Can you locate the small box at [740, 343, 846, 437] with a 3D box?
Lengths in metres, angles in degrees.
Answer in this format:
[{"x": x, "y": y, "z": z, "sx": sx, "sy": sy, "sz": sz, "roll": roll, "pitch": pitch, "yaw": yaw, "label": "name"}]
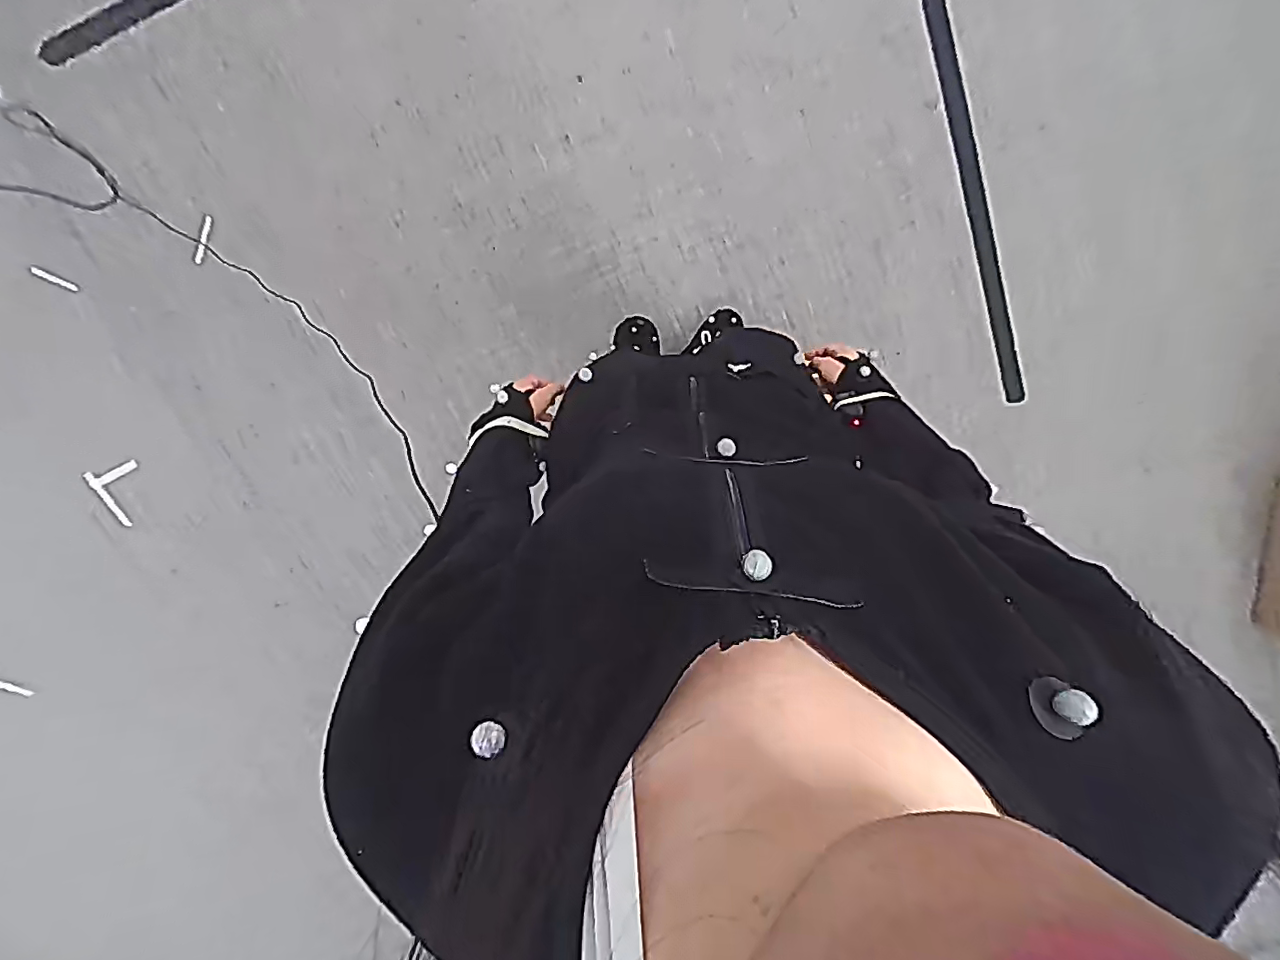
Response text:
[{"x": 0.377, "y": -0.235, "z": 1.373, "sx": 0.179, "sy": 0.176, "sz": 0.168, "roll": 28, "pitch": 106, "yaw": -10, "label": "small box"}]
